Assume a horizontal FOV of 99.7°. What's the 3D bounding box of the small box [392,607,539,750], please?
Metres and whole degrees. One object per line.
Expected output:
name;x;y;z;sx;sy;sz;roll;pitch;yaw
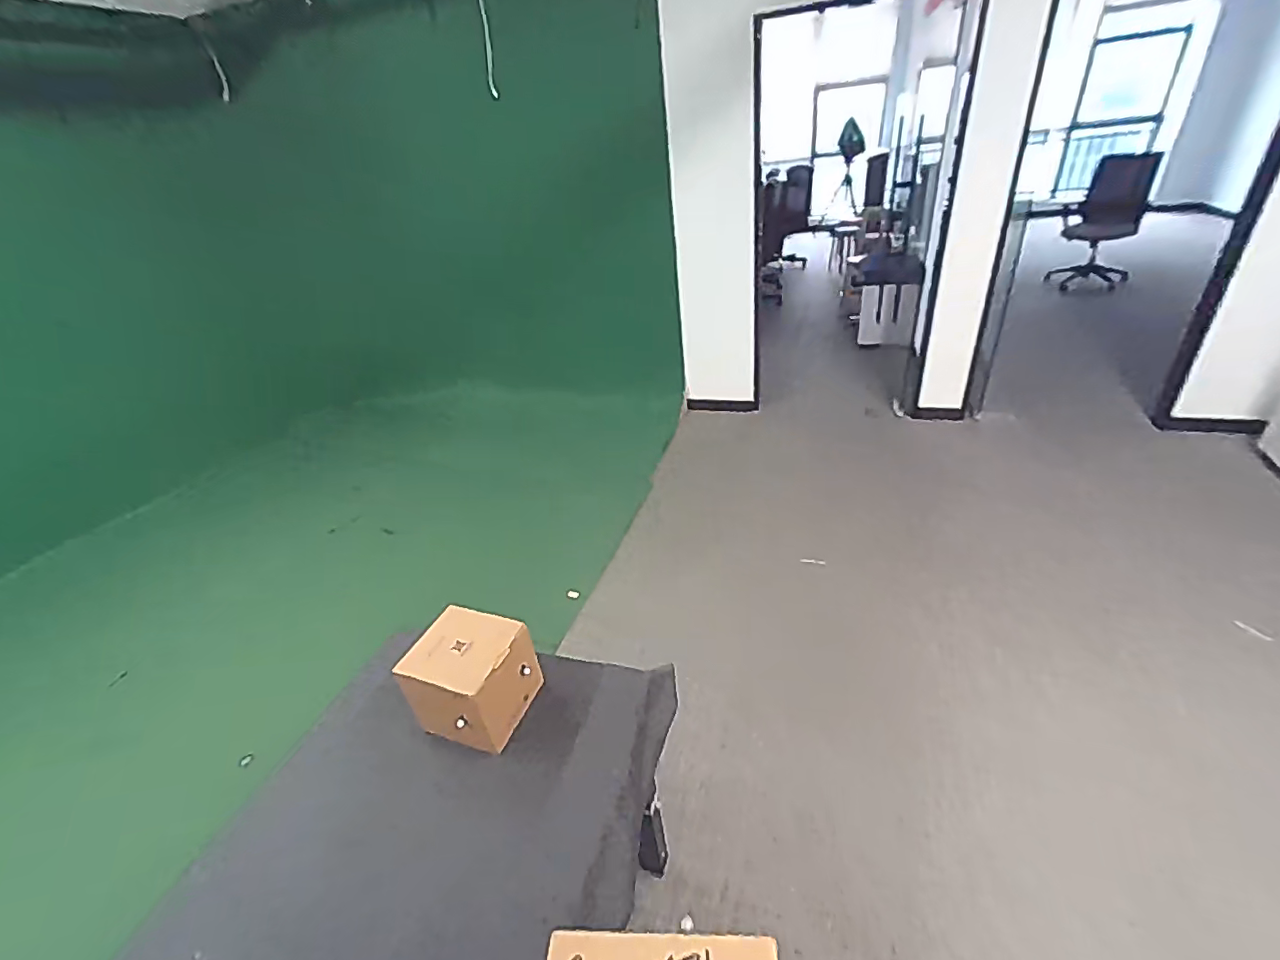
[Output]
small box;-0.308;0.364;0.996;0.179;0.176;0.168;5;32;21
